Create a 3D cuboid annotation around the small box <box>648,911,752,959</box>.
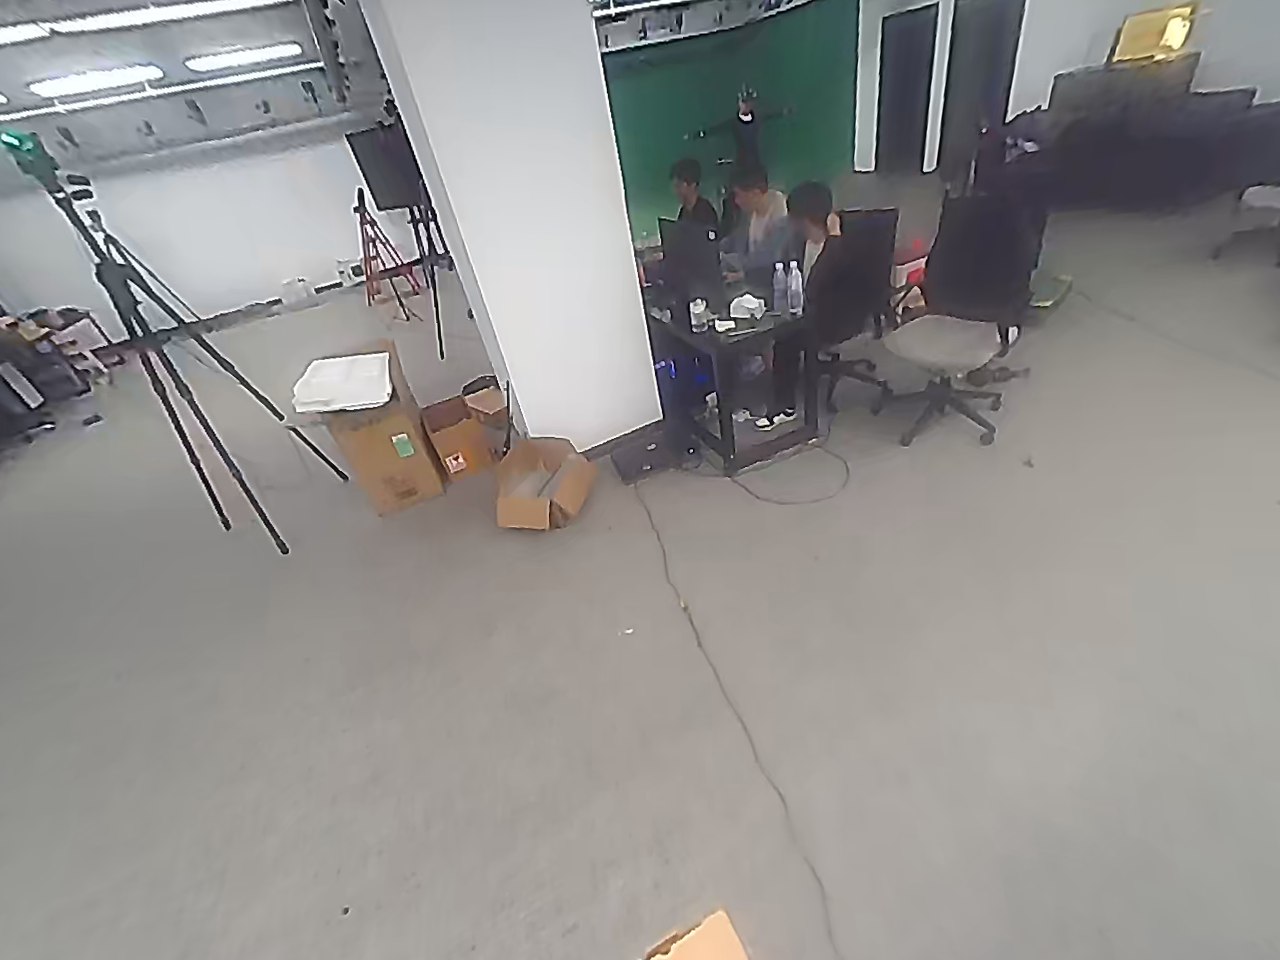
[{"bbox_3d":[0.080,0.661,0.629,0.168,0.176,0.179,-23,42,-14],"label":"small box"}]
